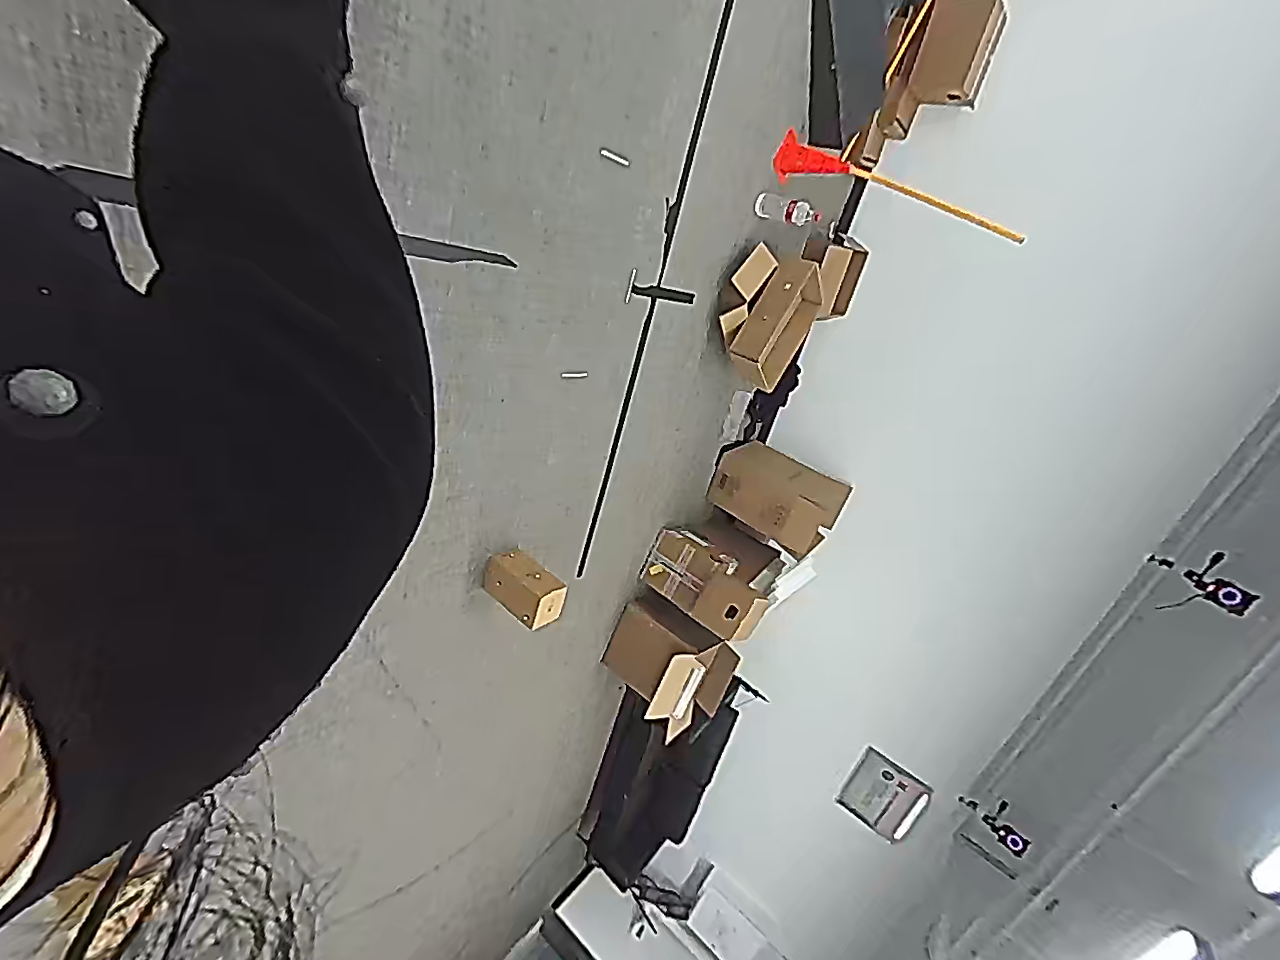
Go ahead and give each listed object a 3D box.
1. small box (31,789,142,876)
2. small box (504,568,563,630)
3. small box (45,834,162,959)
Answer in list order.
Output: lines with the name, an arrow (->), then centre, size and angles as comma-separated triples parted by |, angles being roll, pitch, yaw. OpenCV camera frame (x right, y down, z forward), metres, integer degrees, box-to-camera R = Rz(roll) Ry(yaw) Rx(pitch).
small box -> -1.481, 0.973, 1.452 | 0.168, 0.176, 0.179 | -22, 136, -49
small box -> -0.463, 0.509, 2.335 | 0.168, 0.176, 0.179 | -13, 127, -55
small box -> -1.358, 1.048, 1.371 | 0.168, 0.176, 0.179 | -21, 135, -50
